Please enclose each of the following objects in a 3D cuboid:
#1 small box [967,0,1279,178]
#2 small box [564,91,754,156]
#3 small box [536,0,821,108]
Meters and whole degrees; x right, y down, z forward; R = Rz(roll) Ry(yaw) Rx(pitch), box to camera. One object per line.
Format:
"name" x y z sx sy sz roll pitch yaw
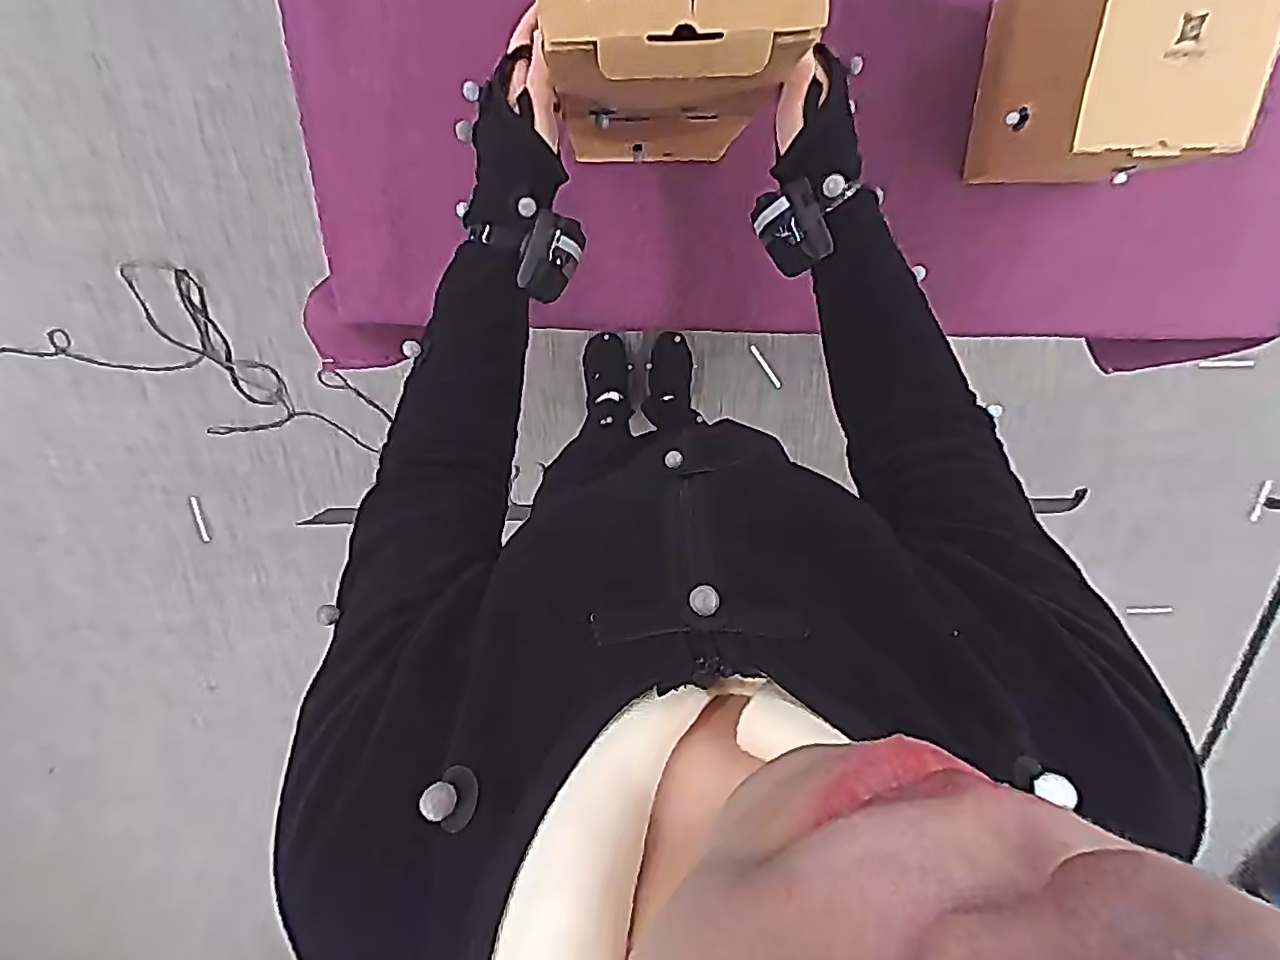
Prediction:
"small box" 0.460 -0.407 0.533 0.168 0.176 0.179 -1 111 -2
"small box" 0.011 -0.422 0.509 0.168 0.176 0.179 -2 112 -2
"small box" 0.018 -0.364 0.355 0.168 0.176 0.179 -3 111 -2
